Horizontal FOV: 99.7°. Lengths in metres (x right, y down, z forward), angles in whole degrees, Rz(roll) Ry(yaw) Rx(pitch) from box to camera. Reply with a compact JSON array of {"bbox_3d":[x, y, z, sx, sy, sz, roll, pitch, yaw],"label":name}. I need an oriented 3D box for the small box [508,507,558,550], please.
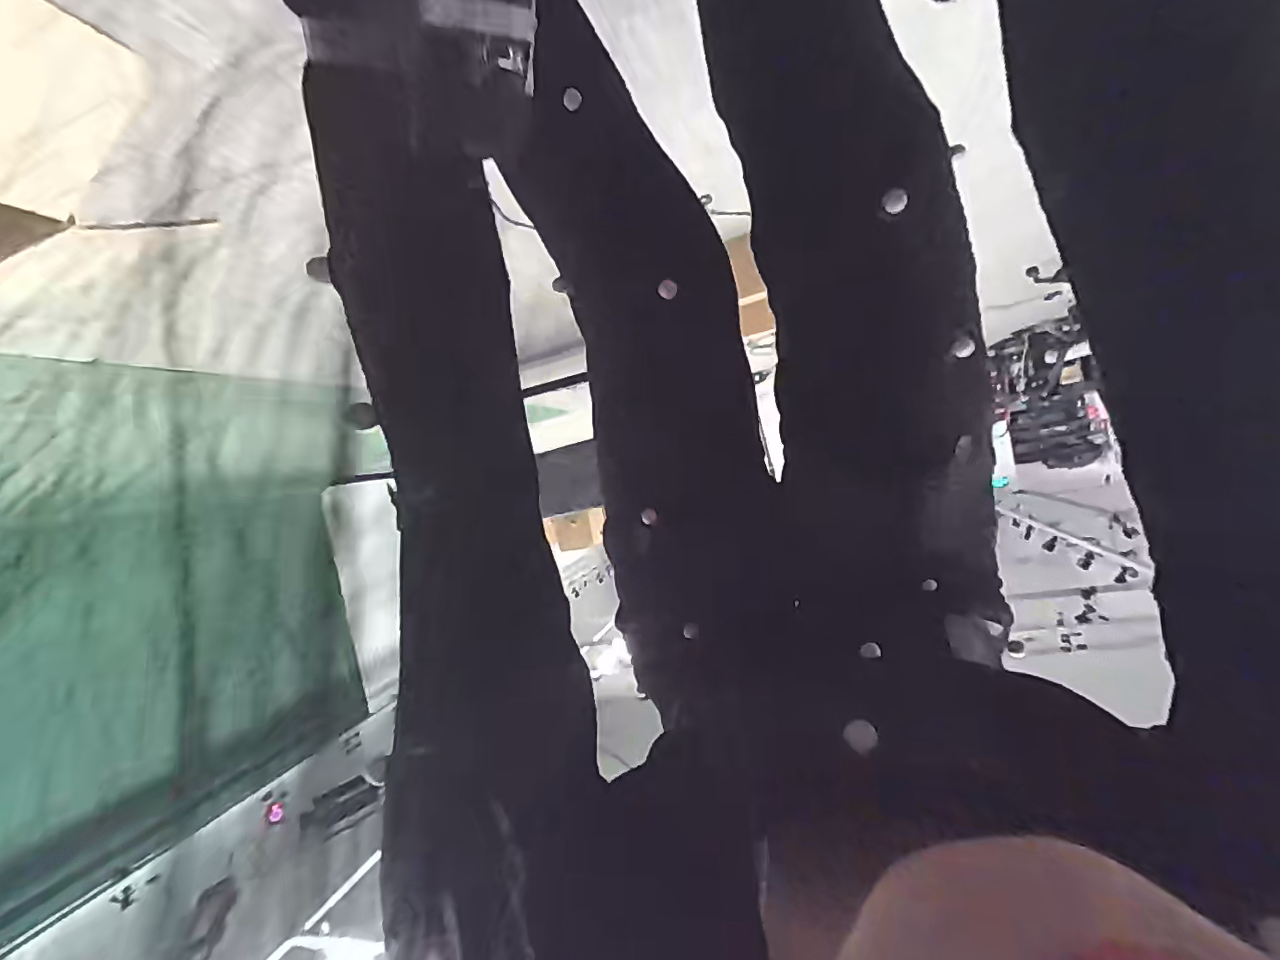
[{"bbox_3d":[-0.519,0.229,2.610,0.179,0.176,0.168,-13,-179,17],"label":"small box"}]
